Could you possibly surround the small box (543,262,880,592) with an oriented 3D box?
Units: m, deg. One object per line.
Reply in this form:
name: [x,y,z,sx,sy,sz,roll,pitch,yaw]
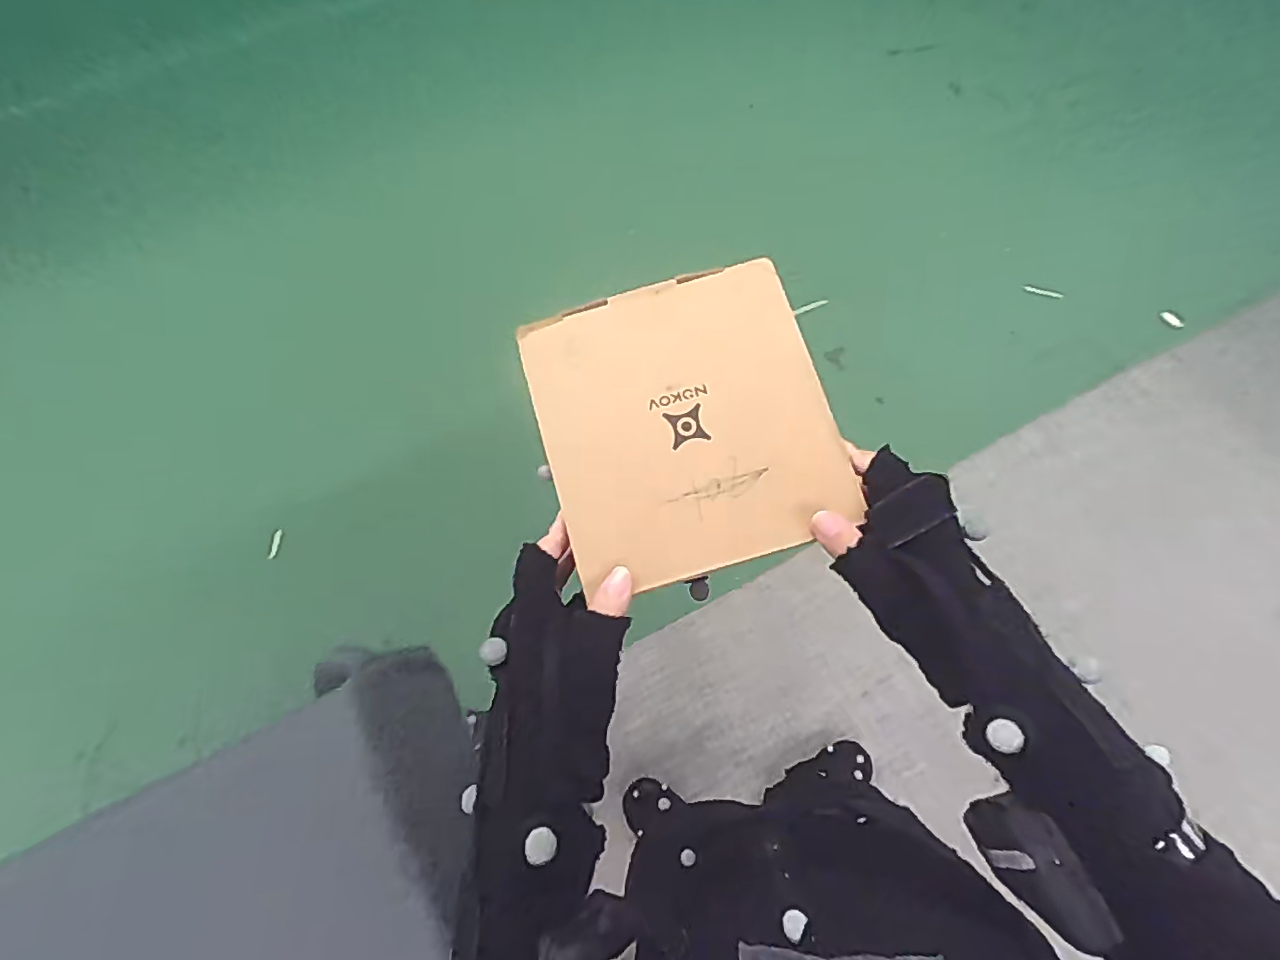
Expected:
small box: [0.039,-0.021,0.398,0.168,0.176,0.179,-15,79,-1]
